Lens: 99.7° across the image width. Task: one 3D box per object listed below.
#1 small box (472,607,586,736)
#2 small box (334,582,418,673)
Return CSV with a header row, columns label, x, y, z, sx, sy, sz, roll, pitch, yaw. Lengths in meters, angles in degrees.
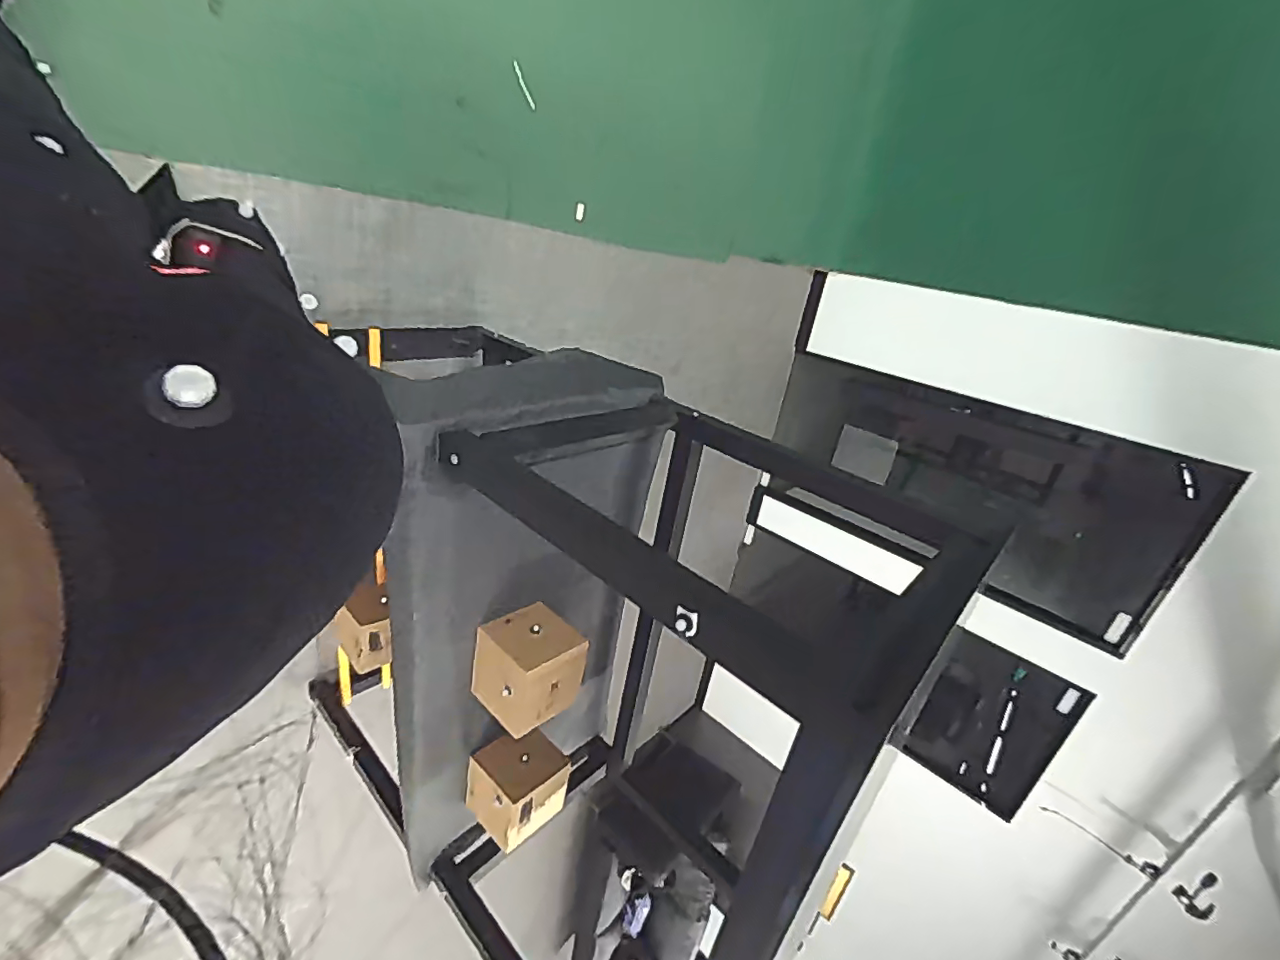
label,x,y,z,sx,sy,sz,roll,pitch,yaw
small box,-0.242,0.394,1.156,0.168,0.176,0.179,-14,123,-48
small box,-0.777,0.424,1.585,0.179,0.176,0.168,-13,123,-48
